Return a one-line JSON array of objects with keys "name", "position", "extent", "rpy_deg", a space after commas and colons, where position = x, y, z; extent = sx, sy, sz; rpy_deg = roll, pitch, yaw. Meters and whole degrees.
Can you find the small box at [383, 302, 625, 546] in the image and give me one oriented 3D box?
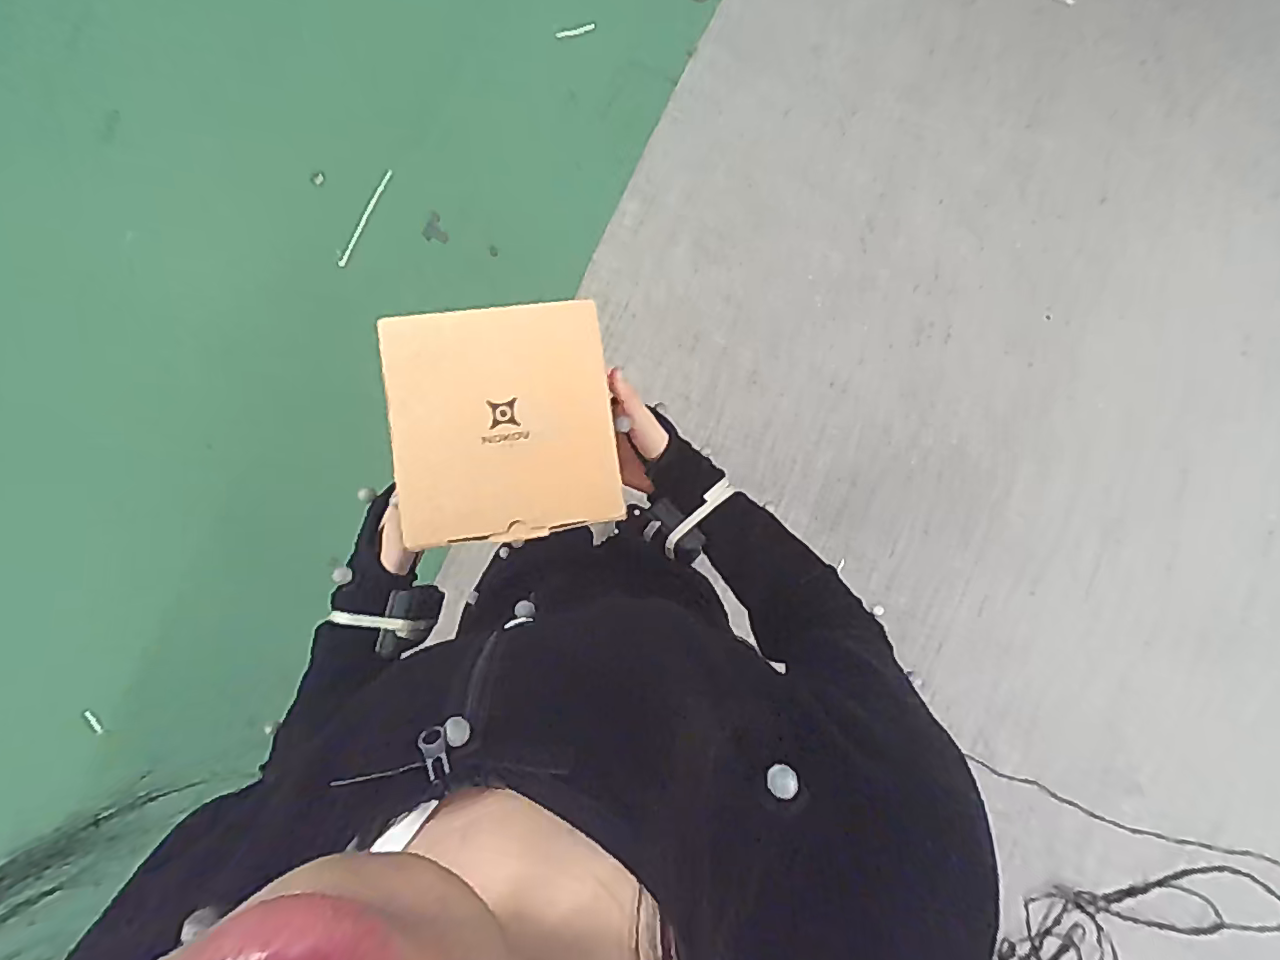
[{"name": "small box", "position": [-0.113, -0.039, 0.493], "extent": [0.168, 0.176, 0.179], "rpy_deg": [-9, 87, -7]}]
